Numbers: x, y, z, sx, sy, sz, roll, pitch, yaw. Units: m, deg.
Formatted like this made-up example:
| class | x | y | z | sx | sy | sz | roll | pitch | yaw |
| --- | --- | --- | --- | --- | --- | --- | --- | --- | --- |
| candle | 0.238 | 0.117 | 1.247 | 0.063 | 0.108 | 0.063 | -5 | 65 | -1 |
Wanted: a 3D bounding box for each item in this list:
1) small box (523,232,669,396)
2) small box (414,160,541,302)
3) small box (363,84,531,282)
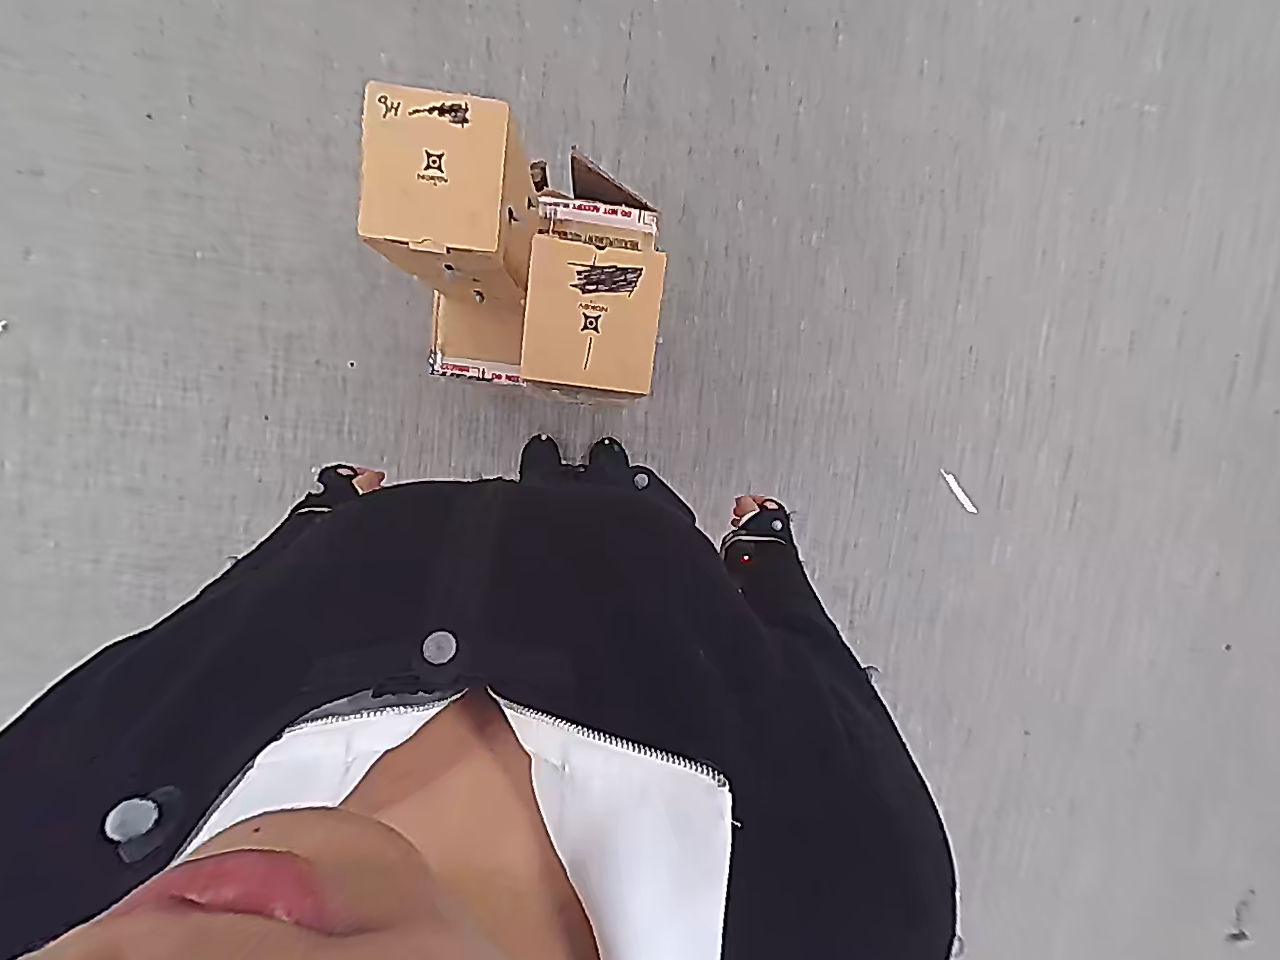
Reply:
| class | x | y | z | sx | sy | sz | roll | pitch | yaw |
| --- | --- | --- | --- | --- | --- | --- | --- | --- | --- |
| small box | -0.060 | -0.215 | 0.747 | 0.168 | 0.176 | 0.179 | 6 | 97 | -4 |
| small box | -0.256 | -0.402 | 0.877 | 0.168 | 0.176 | 0.179 | 4 | 97 | -3 |
| small box | -0.242 | -0.373 | 0.714 | 0.168 | 0.176 | 0.179 | 6 | 97 | -3 |
